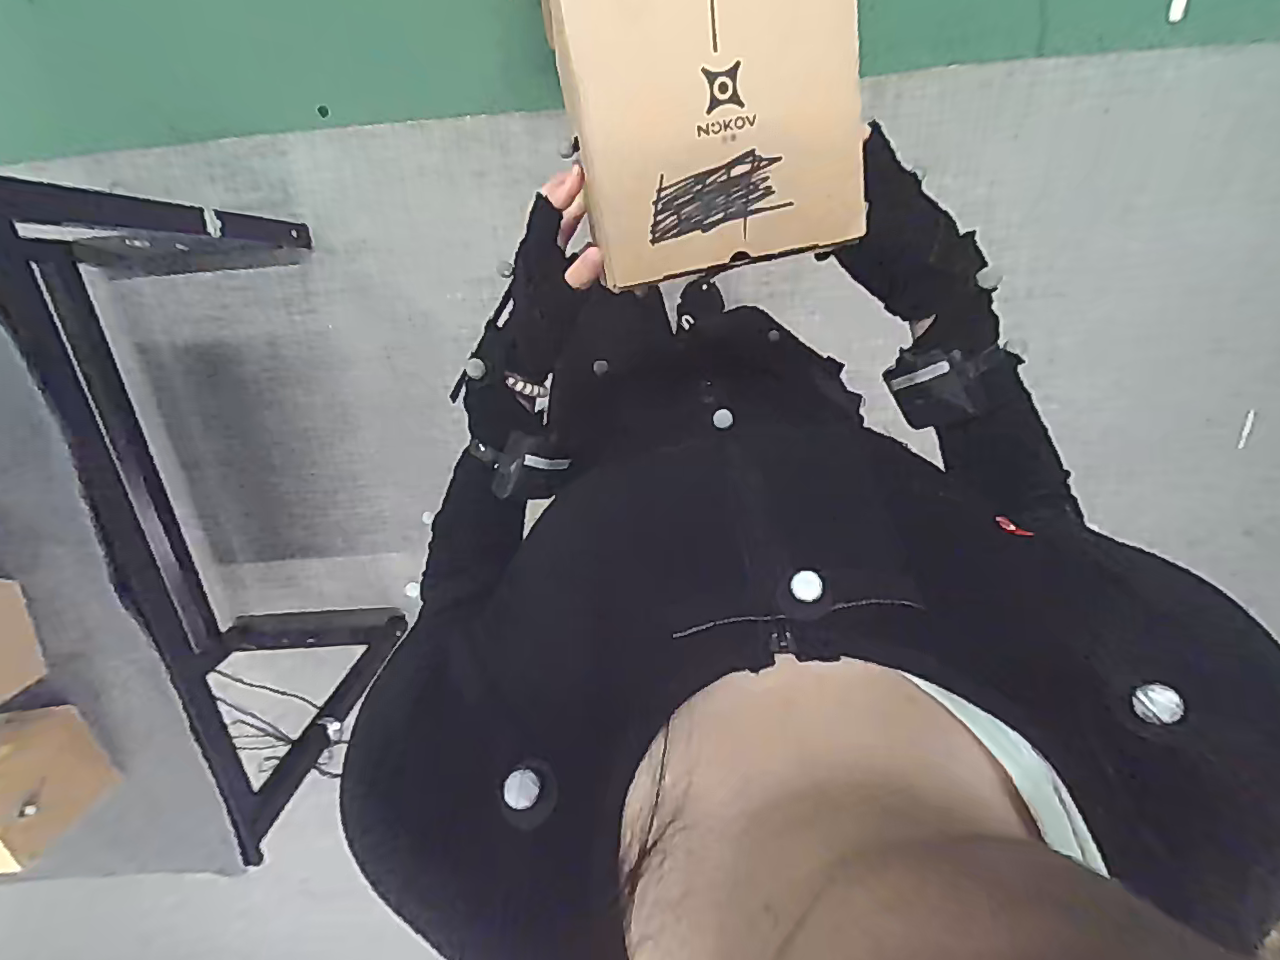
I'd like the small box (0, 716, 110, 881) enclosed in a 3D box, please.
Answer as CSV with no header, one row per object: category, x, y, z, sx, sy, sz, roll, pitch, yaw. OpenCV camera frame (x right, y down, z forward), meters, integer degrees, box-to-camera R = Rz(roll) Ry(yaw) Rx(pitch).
small box,-1.018,0.495,0.851,0.168,0.176,0.179,-8,109,4

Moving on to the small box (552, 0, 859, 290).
small box,0.038,-0.243,0.387,0.168,0.176,0.179,-12,110,-2
